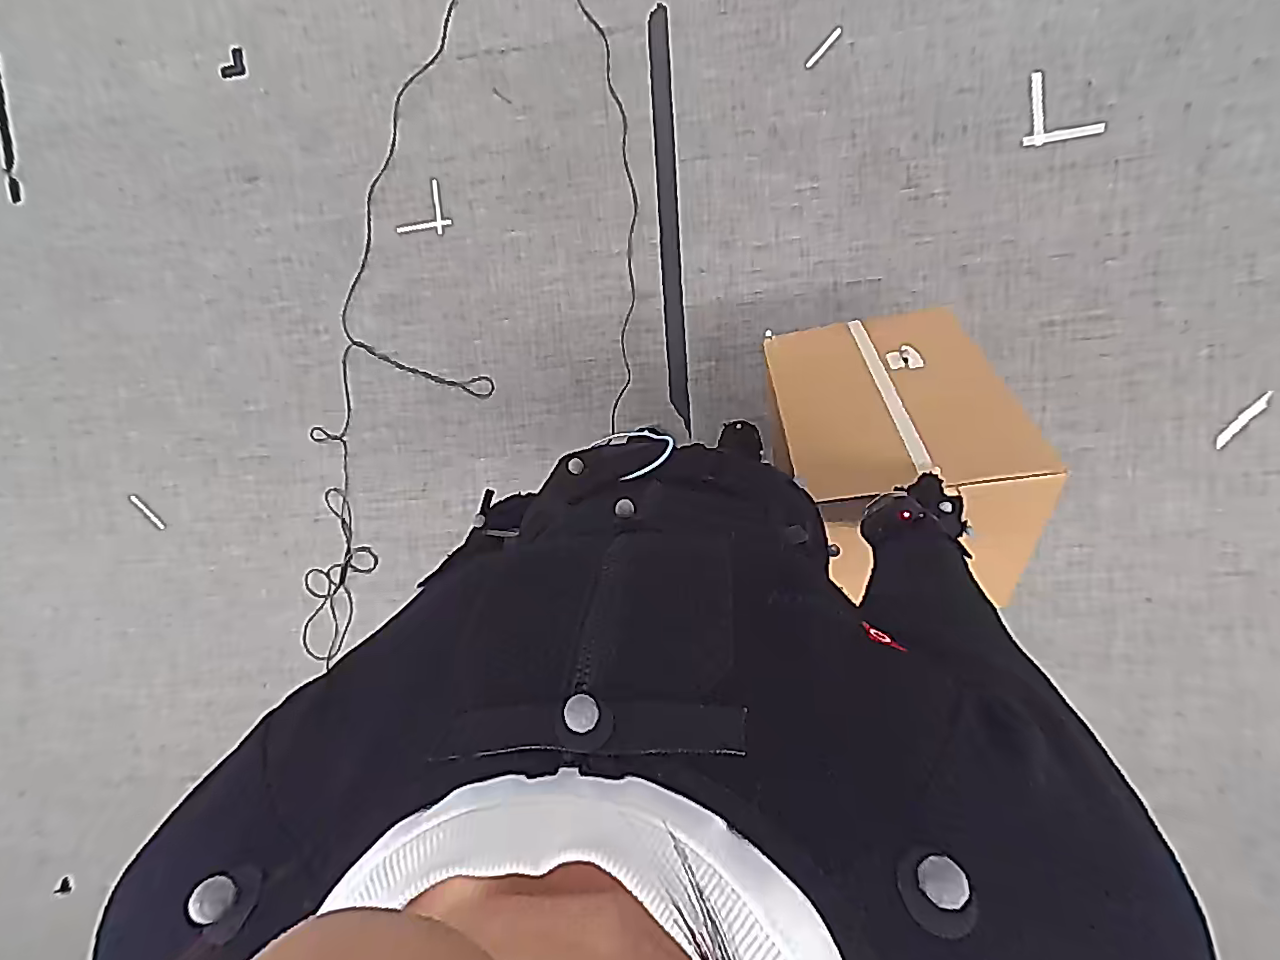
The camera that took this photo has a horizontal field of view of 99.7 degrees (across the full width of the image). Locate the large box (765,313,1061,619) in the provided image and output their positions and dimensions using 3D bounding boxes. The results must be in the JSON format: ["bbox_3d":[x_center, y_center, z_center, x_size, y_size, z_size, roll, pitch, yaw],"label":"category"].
[{"bbox_3d":[0.409,-0.026,0.929,0.320,0.408,0.320,-8,134,9],"label":"large box"}]
